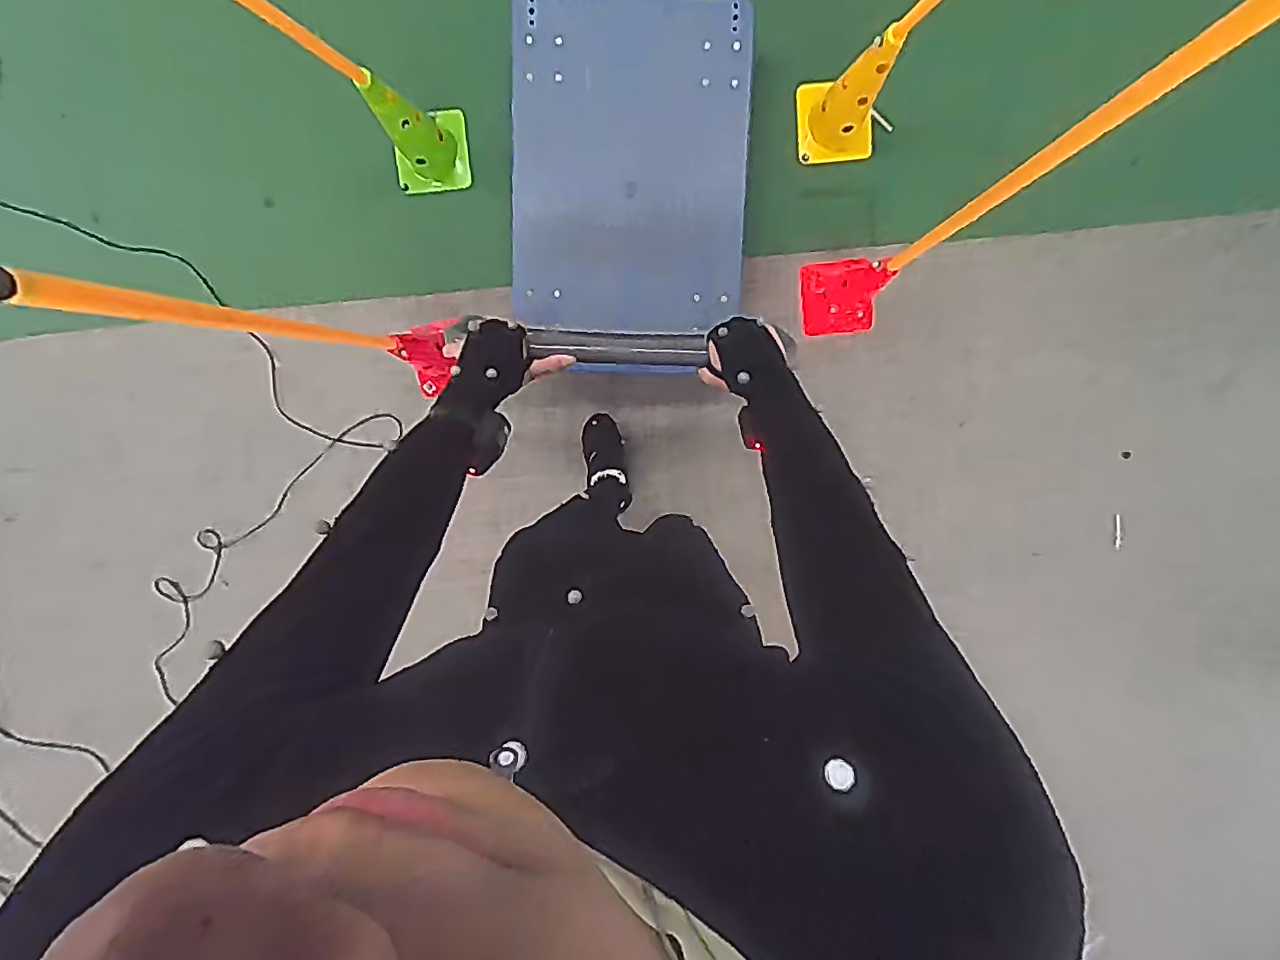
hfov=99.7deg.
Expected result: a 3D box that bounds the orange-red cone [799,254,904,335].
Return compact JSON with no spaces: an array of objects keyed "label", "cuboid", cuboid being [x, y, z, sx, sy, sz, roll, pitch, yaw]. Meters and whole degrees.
[{"label":"orange-red cone","cuboid":[0.545,-0.488,1.330,0.198,0.360,0.199,-6,96,0]}]

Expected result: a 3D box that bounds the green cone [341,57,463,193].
[{"label":"green cone","cuboid":[-0.584,-0.861,1.281,0.200,0.368,0.202,-6,97,2]}]
